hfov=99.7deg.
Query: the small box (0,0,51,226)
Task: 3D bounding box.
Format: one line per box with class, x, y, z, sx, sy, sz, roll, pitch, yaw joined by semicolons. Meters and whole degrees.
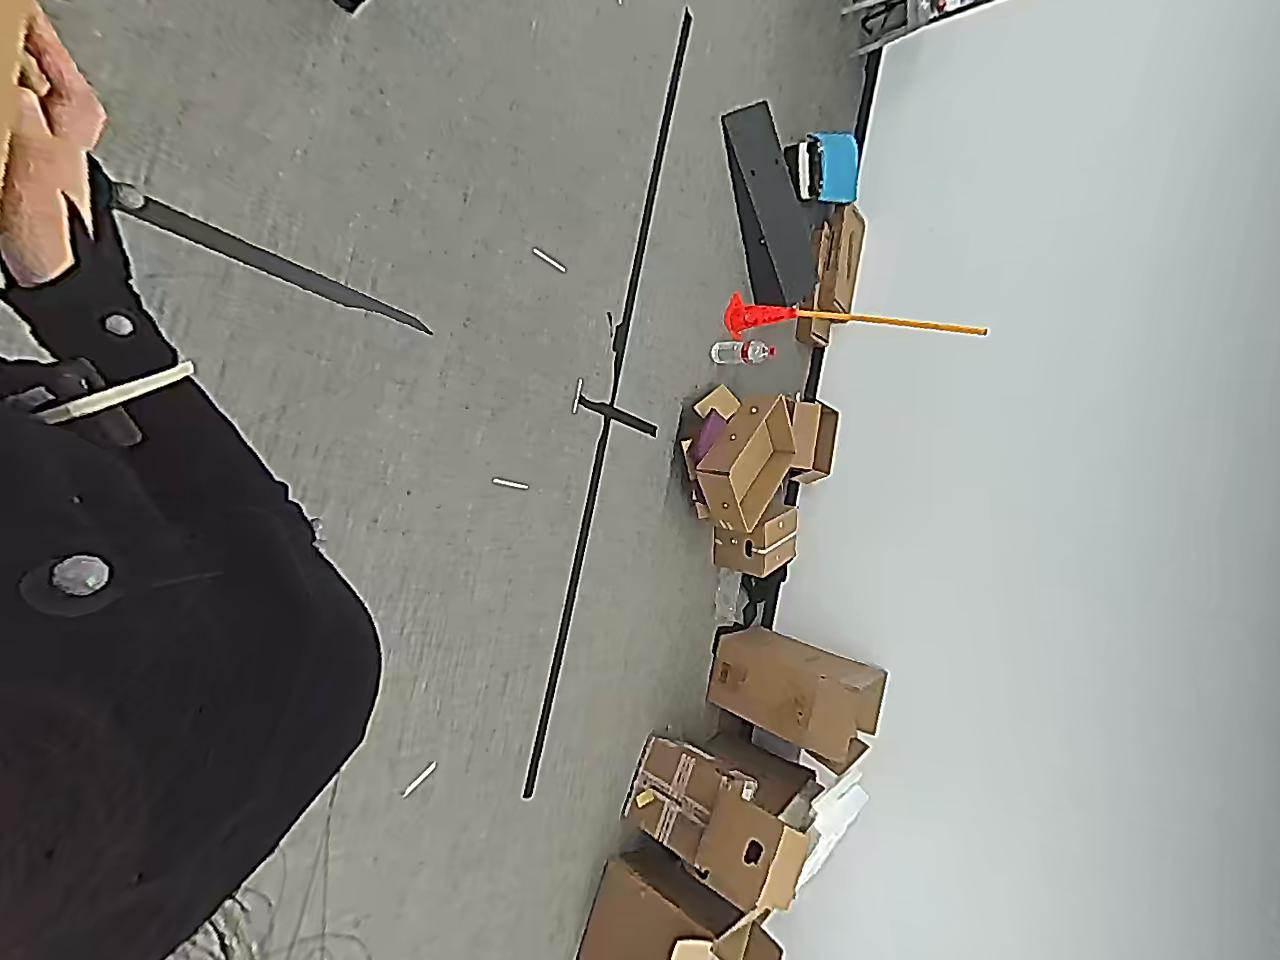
small box;-0.375;-0.221;0.217;0.168;0.176;0.179;9;92;-56
